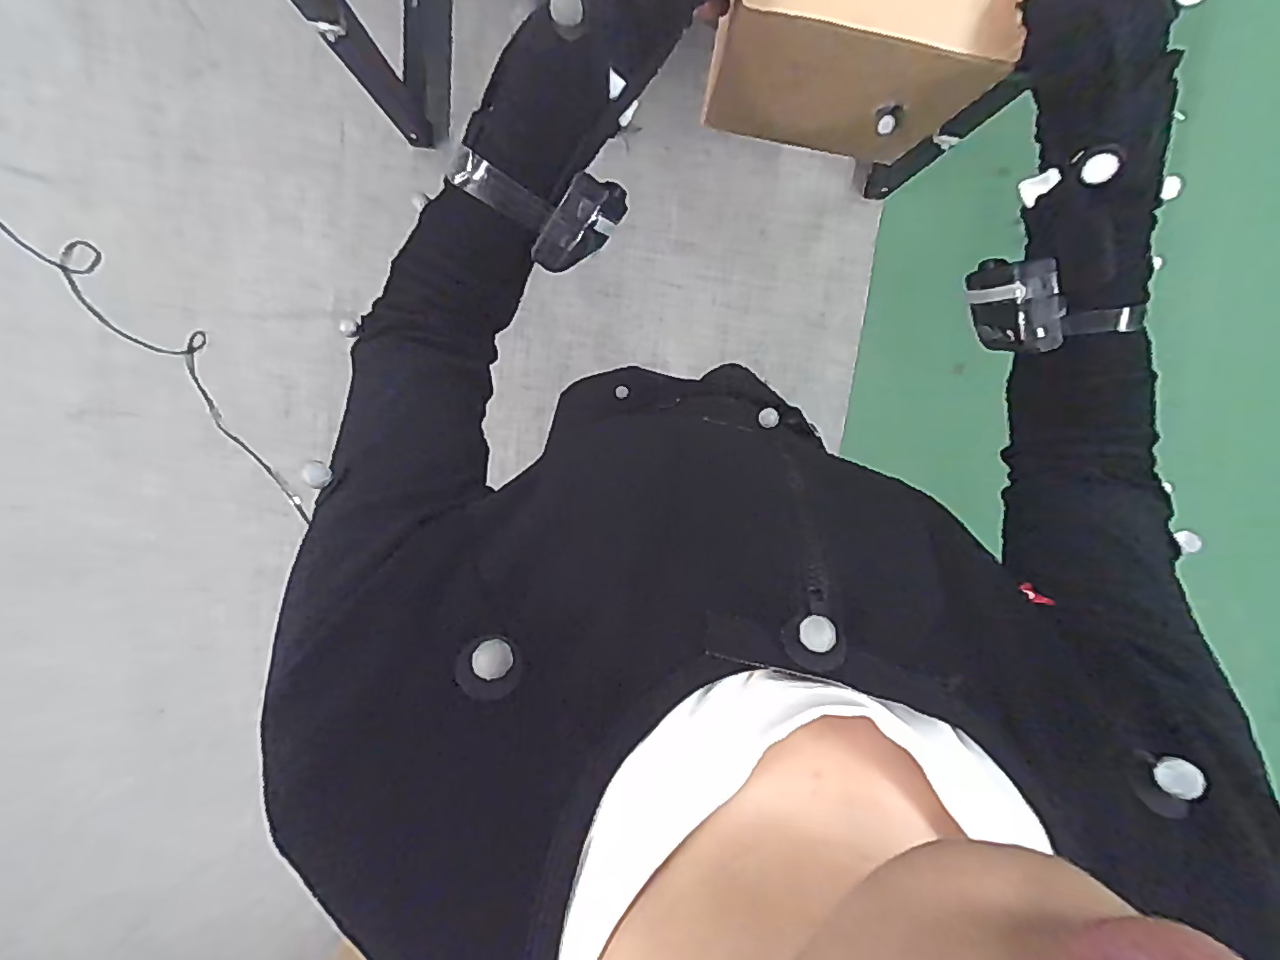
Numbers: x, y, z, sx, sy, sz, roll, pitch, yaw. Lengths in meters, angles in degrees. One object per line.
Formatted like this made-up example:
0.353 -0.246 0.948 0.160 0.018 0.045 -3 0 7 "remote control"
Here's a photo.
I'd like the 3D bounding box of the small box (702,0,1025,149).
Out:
0.150 -0.364 0.386 0.179 0.176 0.168 8 101 -2 "small box"
